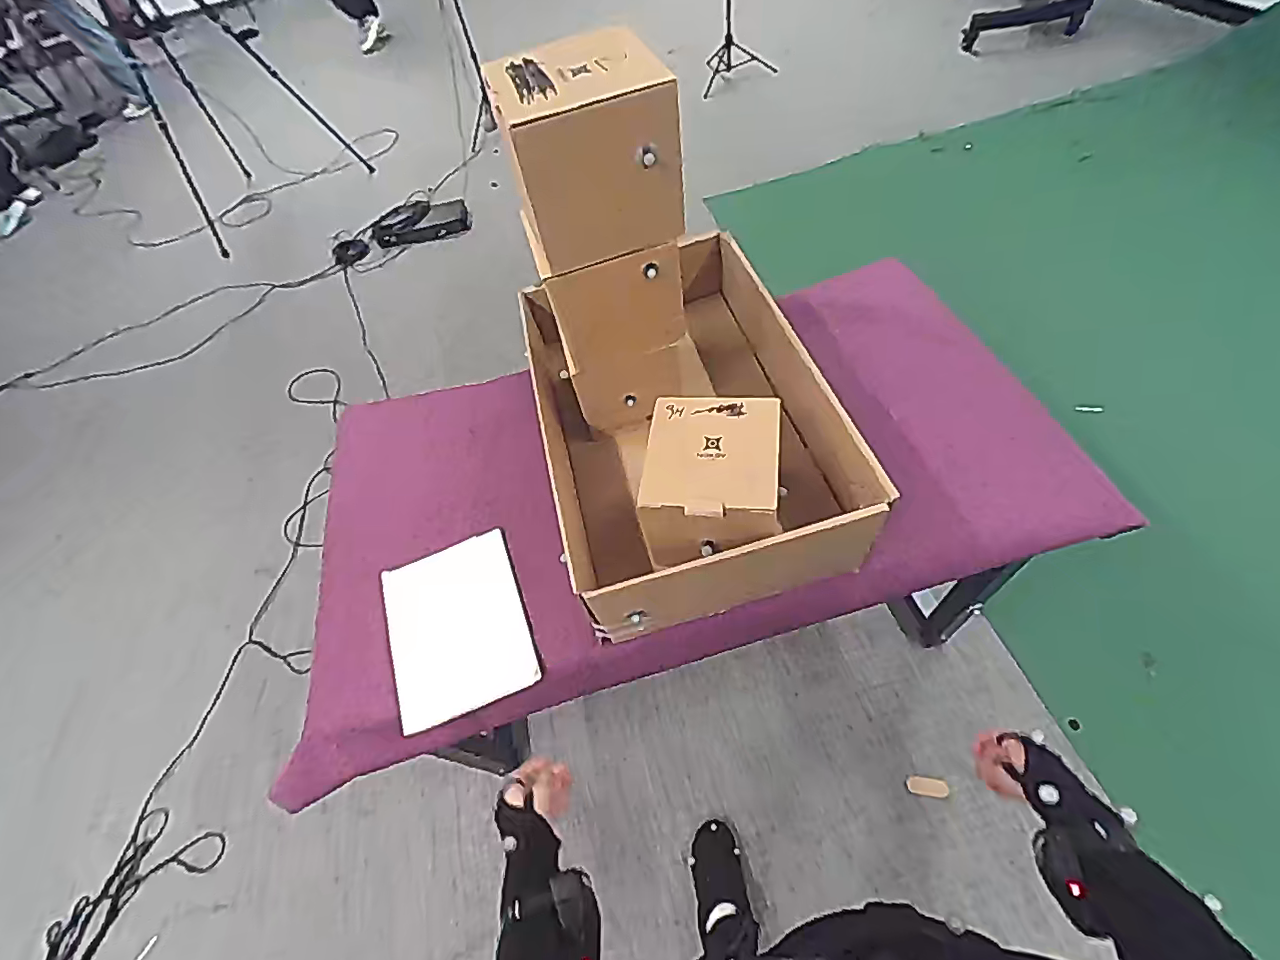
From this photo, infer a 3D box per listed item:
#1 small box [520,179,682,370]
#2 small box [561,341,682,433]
[{"bbox_3d":[-0.050,-0.284,0.767,0.179,0.176,0.168,-18,57,-3],"label":"small box"},{"bbox_3d":[-0.033,-0.197,0.902,0.168,0.176,0.179,-16,57,-1],"label":"small box"}]
